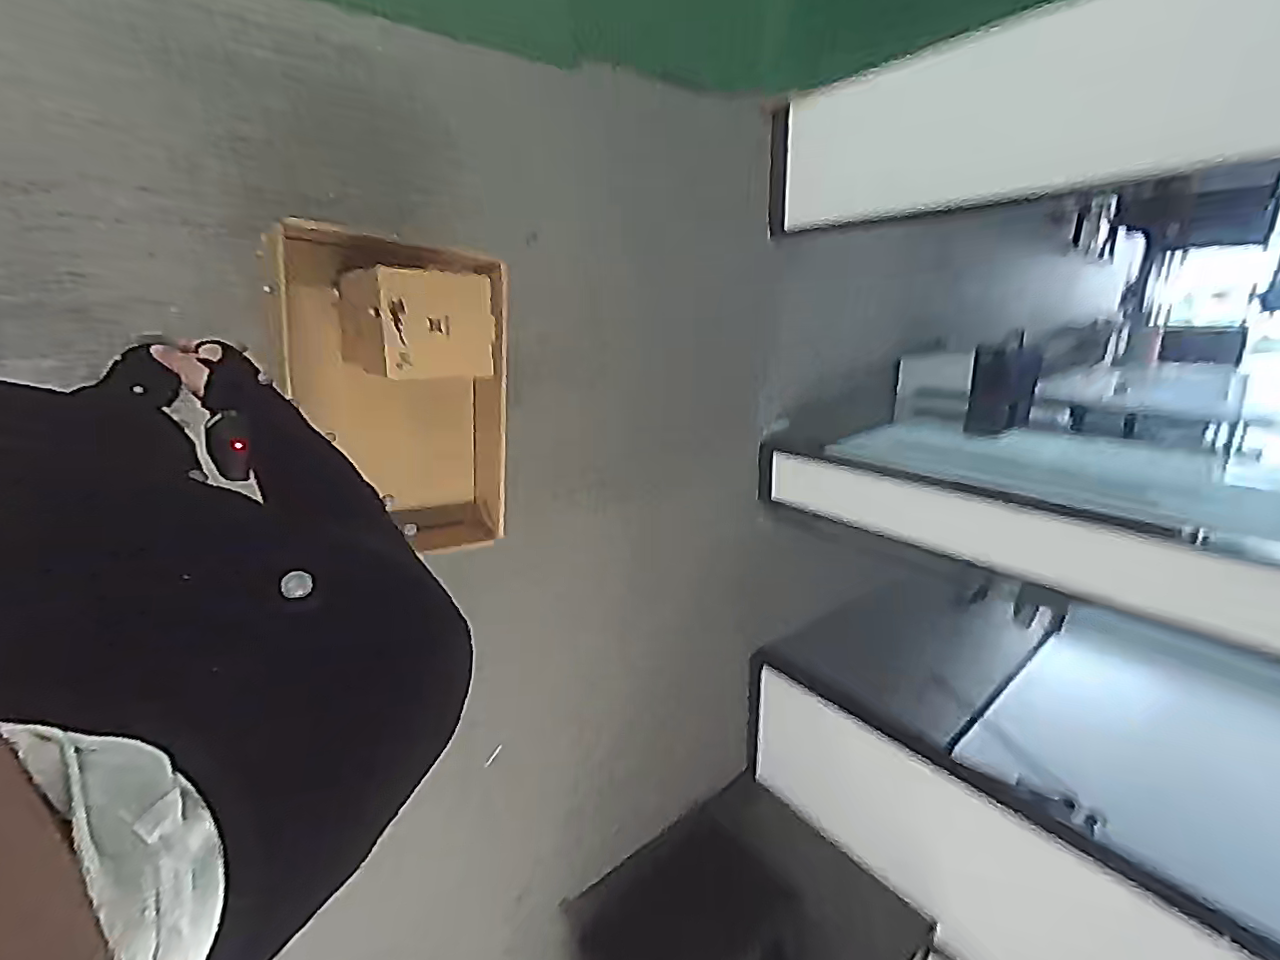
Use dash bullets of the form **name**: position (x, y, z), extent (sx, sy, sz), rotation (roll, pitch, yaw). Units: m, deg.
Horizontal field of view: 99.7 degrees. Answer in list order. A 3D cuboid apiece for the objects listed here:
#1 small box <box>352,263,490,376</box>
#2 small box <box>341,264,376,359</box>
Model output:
- **small box**: position (-0.371, -0.268, 0.919), extent (0.179, 0.176, 0.168), rotation (-8, 109, -37)
- **small box**: position (-0.468, -0.312, 1.044), extent (0.179, 0.176, 0.168), rotation (-6, 108, -38)
